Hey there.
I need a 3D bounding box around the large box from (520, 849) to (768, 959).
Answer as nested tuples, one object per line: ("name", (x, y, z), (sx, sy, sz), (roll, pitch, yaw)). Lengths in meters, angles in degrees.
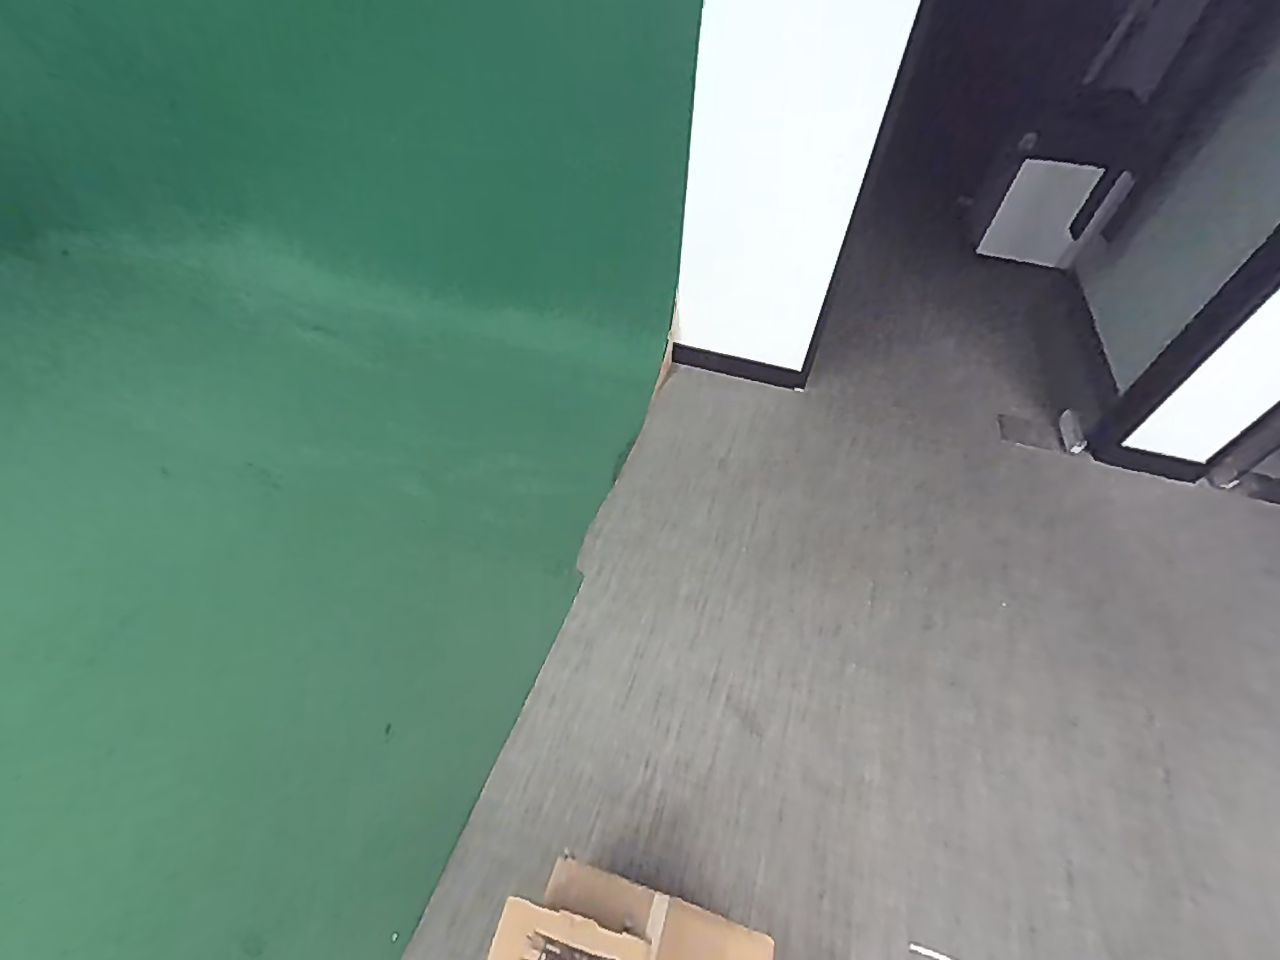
("large box", (-0.030, 0.809, 0.741), (0.320, 0.320, 0.408), (14, 50, 11))
